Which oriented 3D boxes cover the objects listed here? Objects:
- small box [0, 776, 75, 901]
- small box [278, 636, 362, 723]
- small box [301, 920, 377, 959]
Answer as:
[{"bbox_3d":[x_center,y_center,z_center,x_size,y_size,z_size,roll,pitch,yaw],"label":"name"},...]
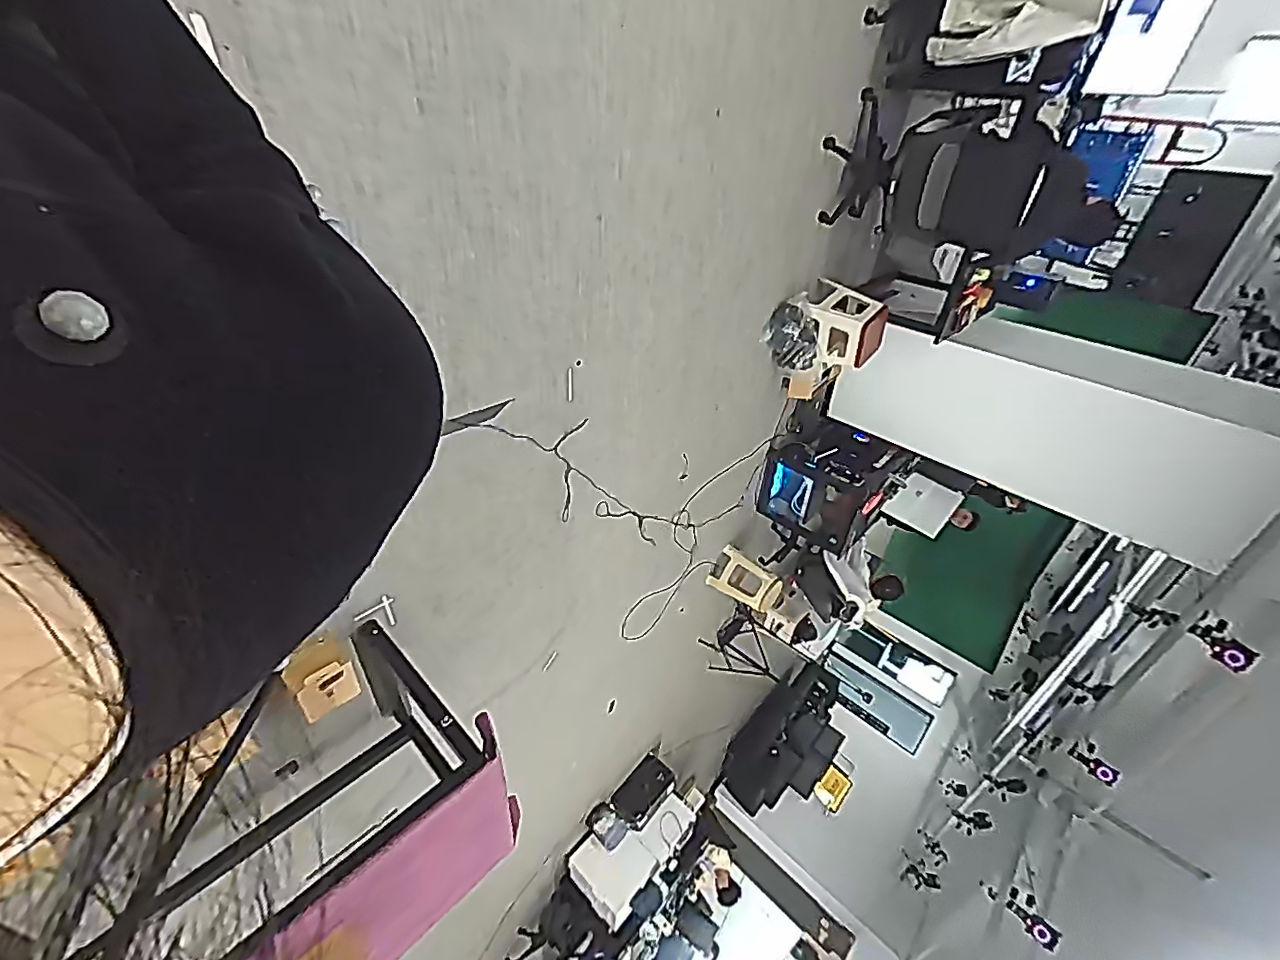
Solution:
[{"bbox_3d":[-1.504,0.866,1.297,0.179,0.176,0.168,-13,125,-51],"label":"small box"},{"bbox_3d":[-1.039,0.634,1.753,0.168,0.176,0.179,-29,138,-39],"label":"small box"},{"bbox_3d":[-0.716,1.207,1.288,0.168,0.176,0.179,-28,138,-39],"label":"small box"}]
